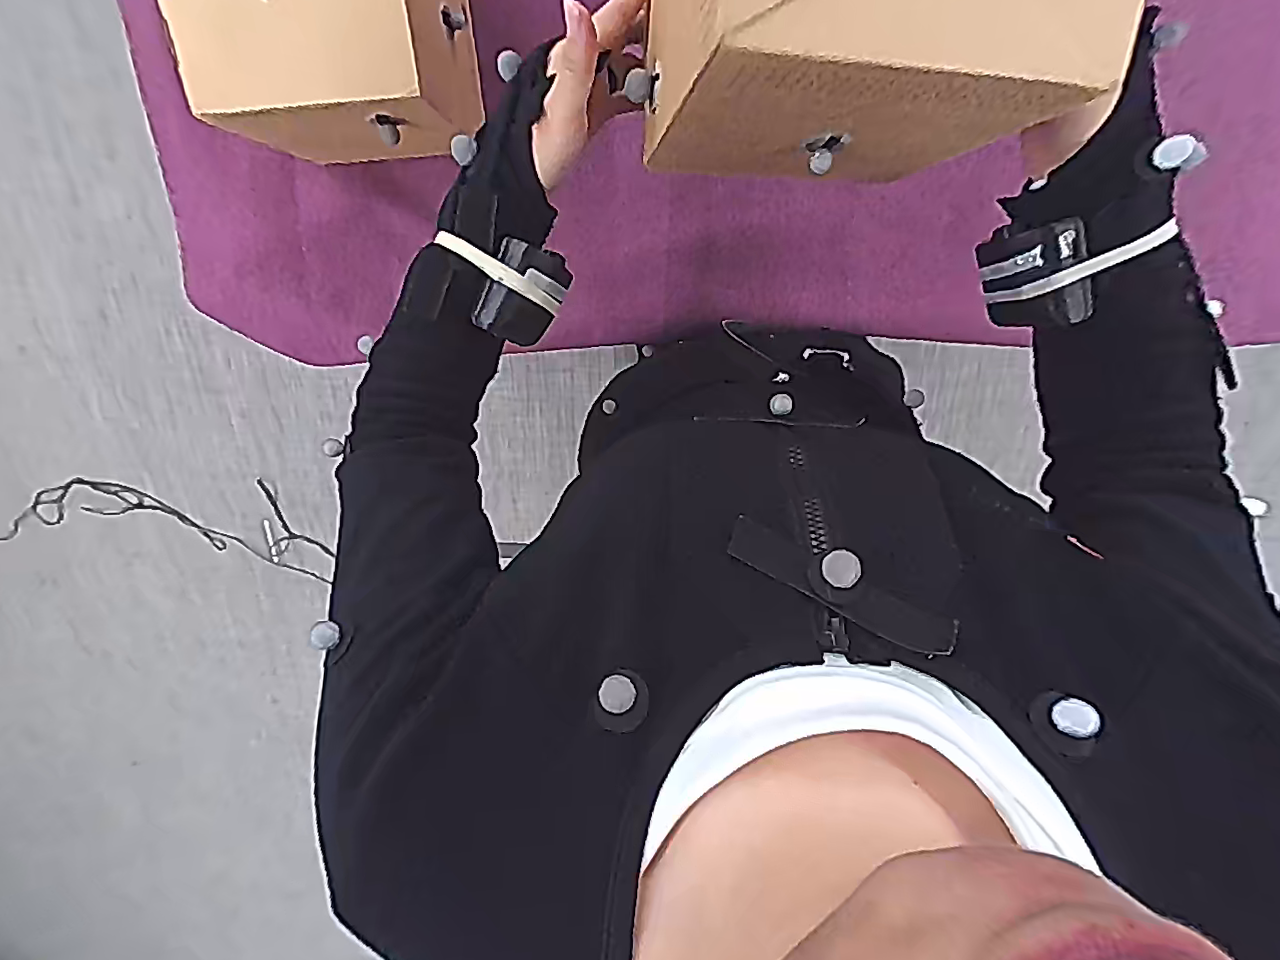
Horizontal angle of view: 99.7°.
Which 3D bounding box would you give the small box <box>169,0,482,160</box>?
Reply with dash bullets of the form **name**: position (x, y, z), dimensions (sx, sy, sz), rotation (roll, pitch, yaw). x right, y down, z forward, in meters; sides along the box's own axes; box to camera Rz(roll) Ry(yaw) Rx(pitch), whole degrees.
- **small box**: position (-0.240, -0.376, 0.443), dimensions (0.179, 0.176, 0.168), rotation (-2, 109, 3)
